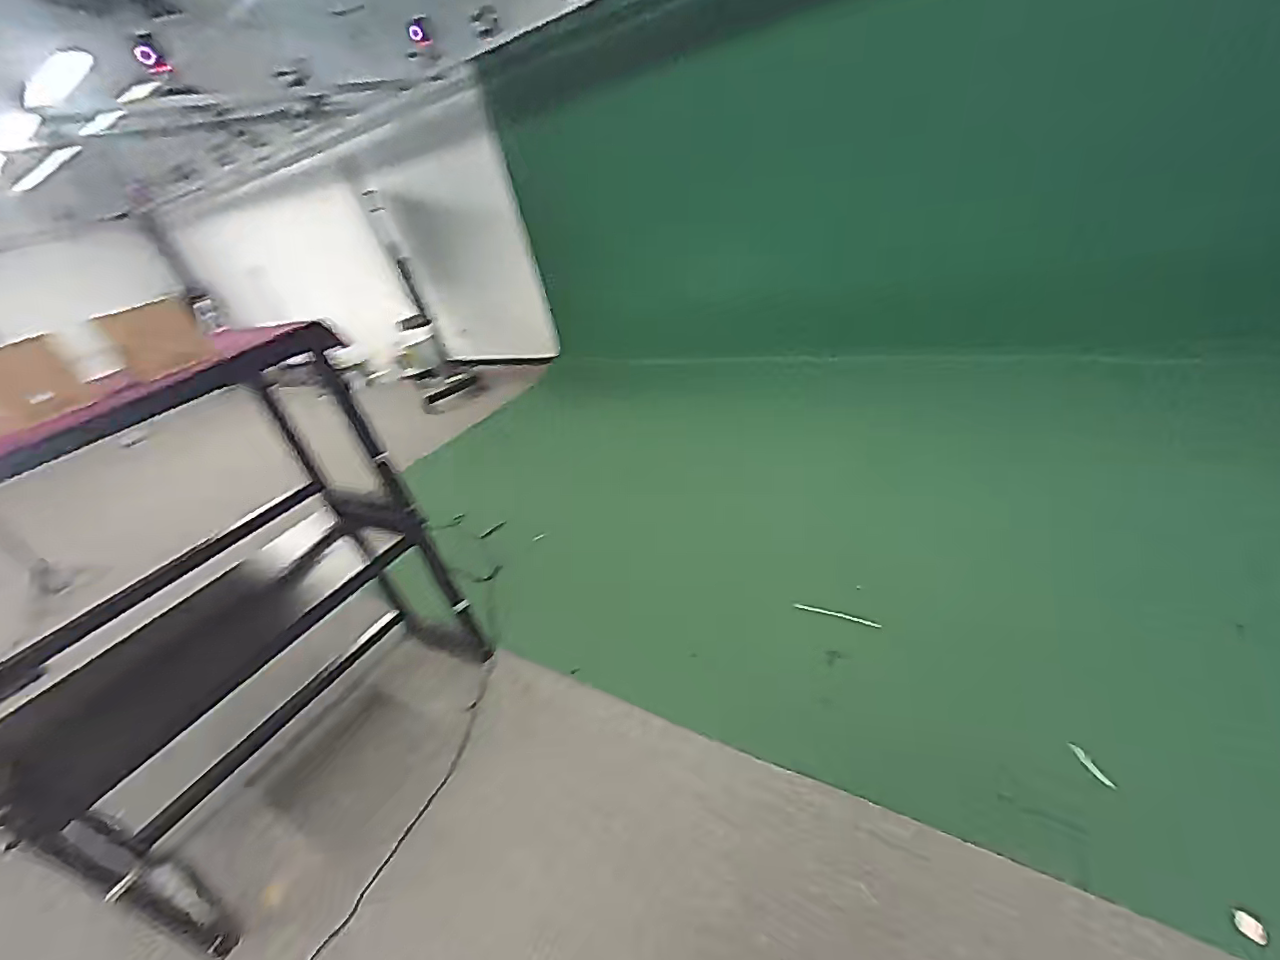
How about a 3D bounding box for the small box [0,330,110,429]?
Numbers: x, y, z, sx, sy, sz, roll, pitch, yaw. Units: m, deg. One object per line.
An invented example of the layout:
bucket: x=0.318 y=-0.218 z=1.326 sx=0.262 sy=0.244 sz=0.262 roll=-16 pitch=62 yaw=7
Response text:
small box: x=-1.372 y=-0.227 z=1.225 sx=0.179 sy=0.176 sz=0.168 roll=8 pitch=37 yaw=34
